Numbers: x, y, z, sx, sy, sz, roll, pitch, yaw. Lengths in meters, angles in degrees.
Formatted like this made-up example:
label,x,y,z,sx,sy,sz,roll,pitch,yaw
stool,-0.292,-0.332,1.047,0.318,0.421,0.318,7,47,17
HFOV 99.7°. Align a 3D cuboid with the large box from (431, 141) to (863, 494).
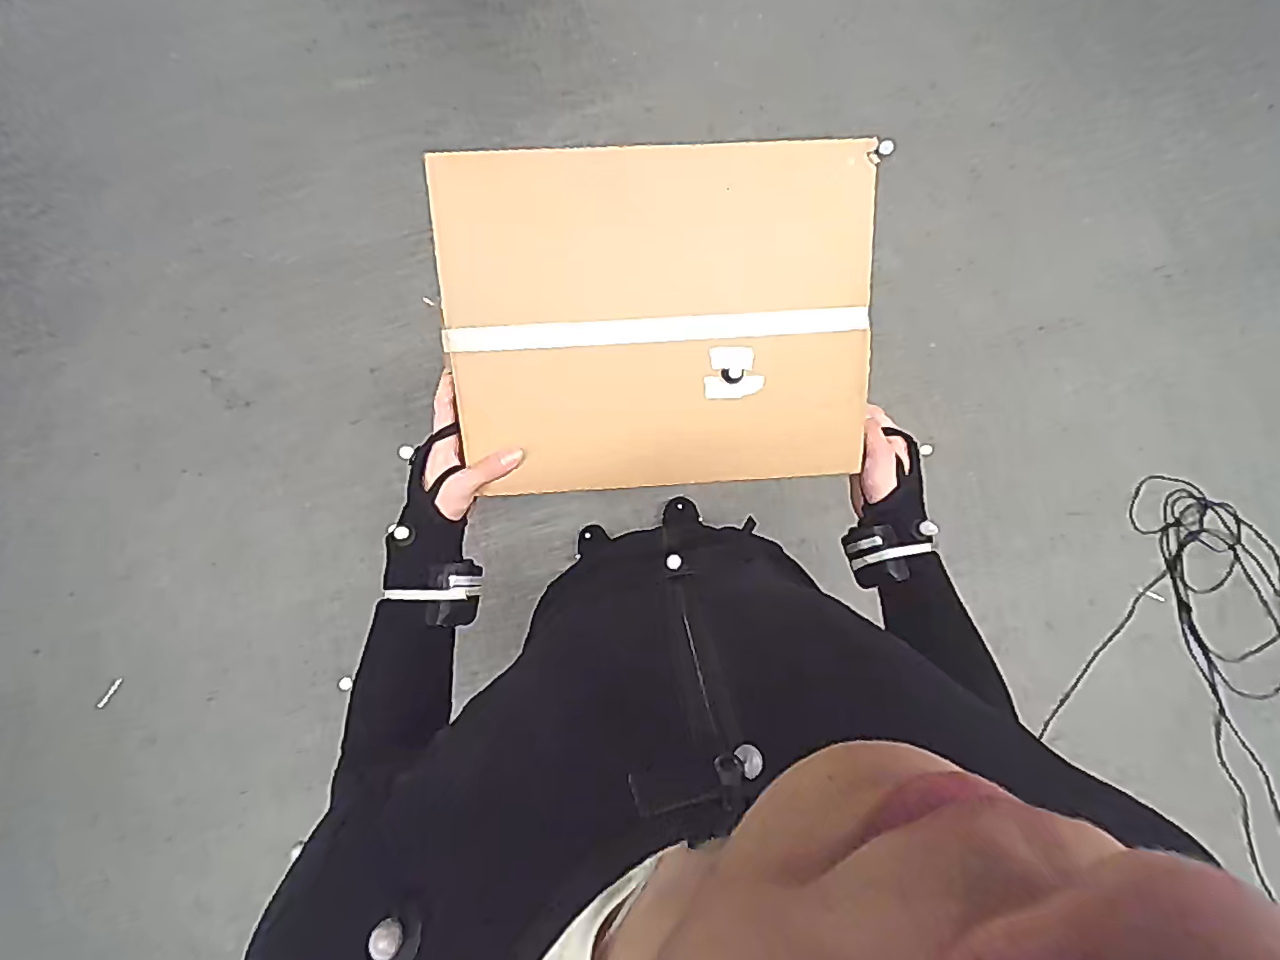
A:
label,x,y,z,sx,sy,sz,roll,pitch,yaw
large box,0.008,-0.184,0.669,0.408,0.320,0.320,-4,105,-3
